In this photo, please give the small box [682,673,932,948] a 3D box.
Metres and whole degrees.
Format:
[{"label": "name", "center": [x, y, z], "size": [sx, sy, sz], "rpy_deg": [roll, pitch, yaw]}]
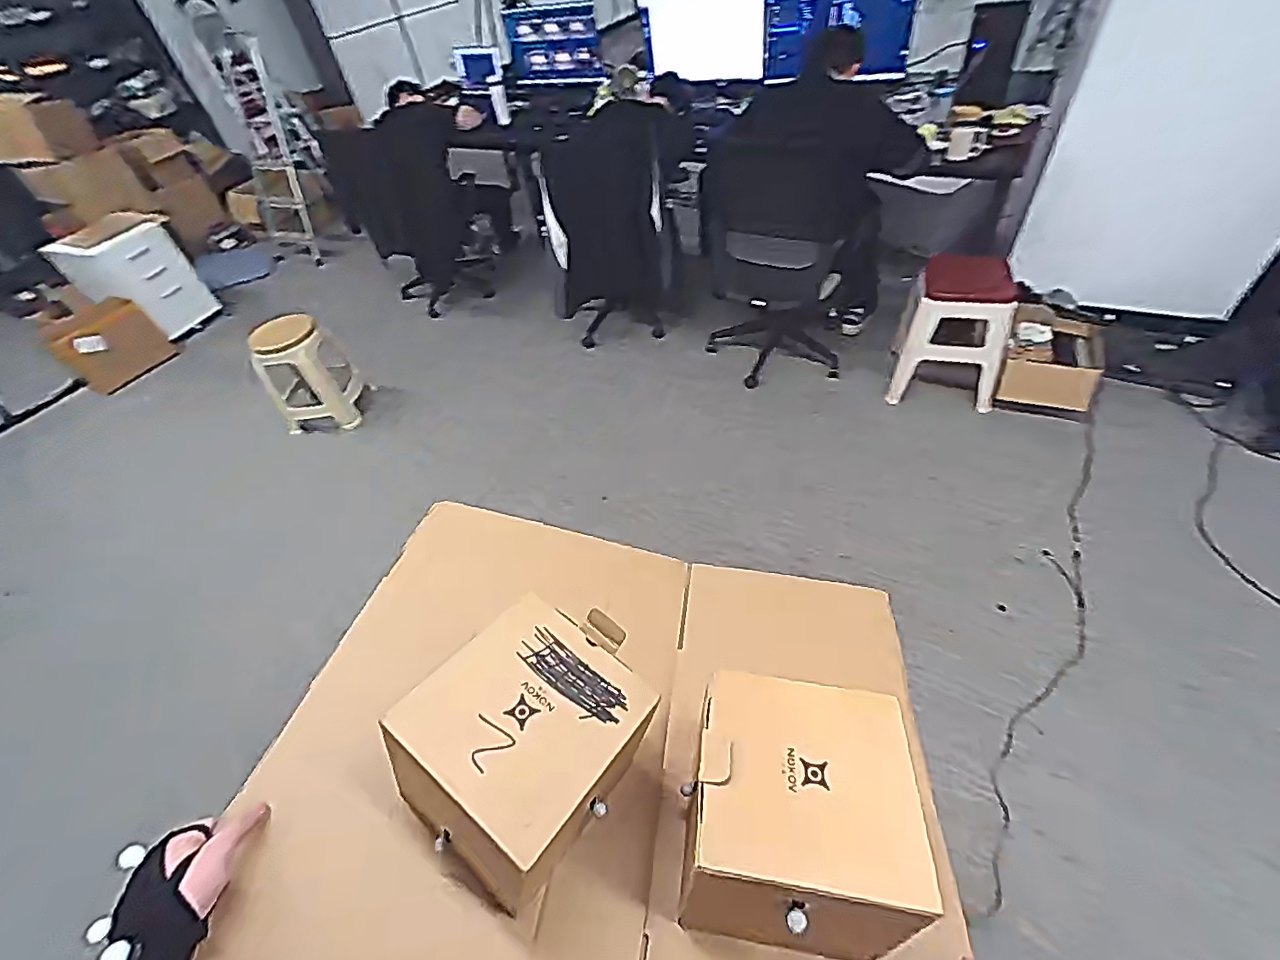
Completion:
[{"label": "small box", "center": [0.139, 0.312, 0.512], "size": [0.179, 0.176, 0.168], "rpy_deg": [6, 39, 6]}]
